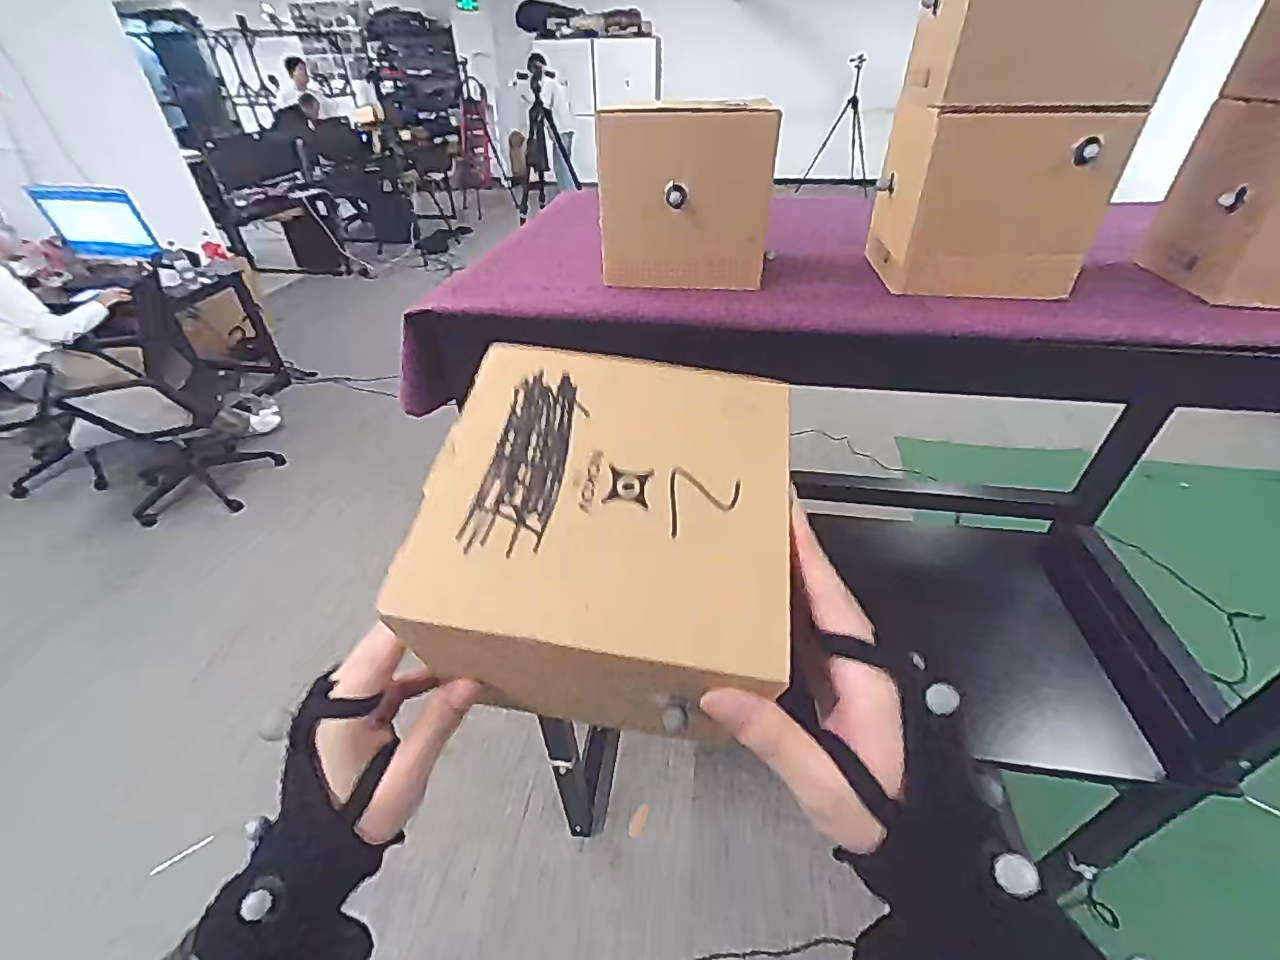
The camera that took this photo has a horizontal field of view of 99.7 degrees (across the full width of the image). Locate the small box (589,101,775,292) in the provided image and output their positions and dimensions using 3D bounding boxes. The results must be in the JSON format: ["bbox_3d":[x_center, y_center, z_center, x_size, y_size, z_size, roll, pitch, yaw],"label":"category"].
[{"bbox_3d":[0.048,-0.321,0.613,0.179,0.176,0.168,2,37,6],"label":"small box"}]

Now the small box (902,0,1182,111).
[{"bbox_3d":[0.354,-0.433,0.484,0.179,0.176,0.168,5,38,8],"label":"small box"}]

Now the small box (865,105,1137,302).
[{"bbox_3d":[0.355,-0.300,0.583,0.179,0.176,0.168,4,37,7],"label":"small box"}]

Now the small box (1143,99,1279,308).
[{"bbox_3d":[0.658,-0.273,0.535,0.179,0.176,0.168,7,38,11],"label":"small box"}]
